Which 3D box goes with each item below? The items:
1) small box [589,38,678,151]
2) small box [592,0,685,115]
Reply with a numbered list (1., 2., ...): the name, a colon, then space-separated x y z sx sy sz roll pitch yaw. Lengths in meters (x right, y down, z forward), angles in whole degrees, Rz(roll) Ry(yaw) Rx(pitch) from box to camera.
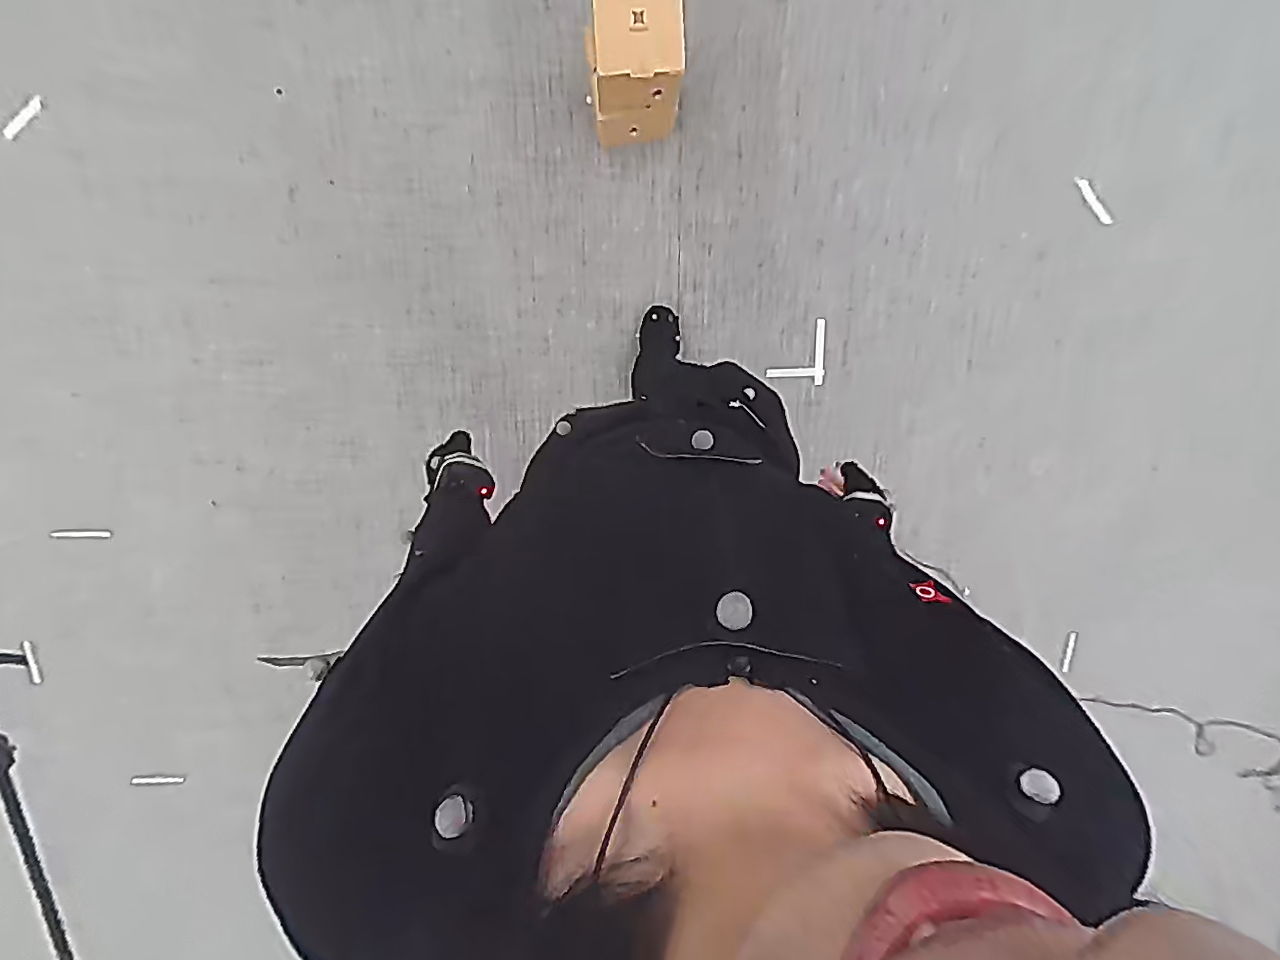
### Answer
1. small box: -0.016 -0.869 1.221 0.179 0.176 0.168 -8 104 0
2. small box: -0.005 -0.844 1.061 0.168 0.176 0.179 -5 103 -3
